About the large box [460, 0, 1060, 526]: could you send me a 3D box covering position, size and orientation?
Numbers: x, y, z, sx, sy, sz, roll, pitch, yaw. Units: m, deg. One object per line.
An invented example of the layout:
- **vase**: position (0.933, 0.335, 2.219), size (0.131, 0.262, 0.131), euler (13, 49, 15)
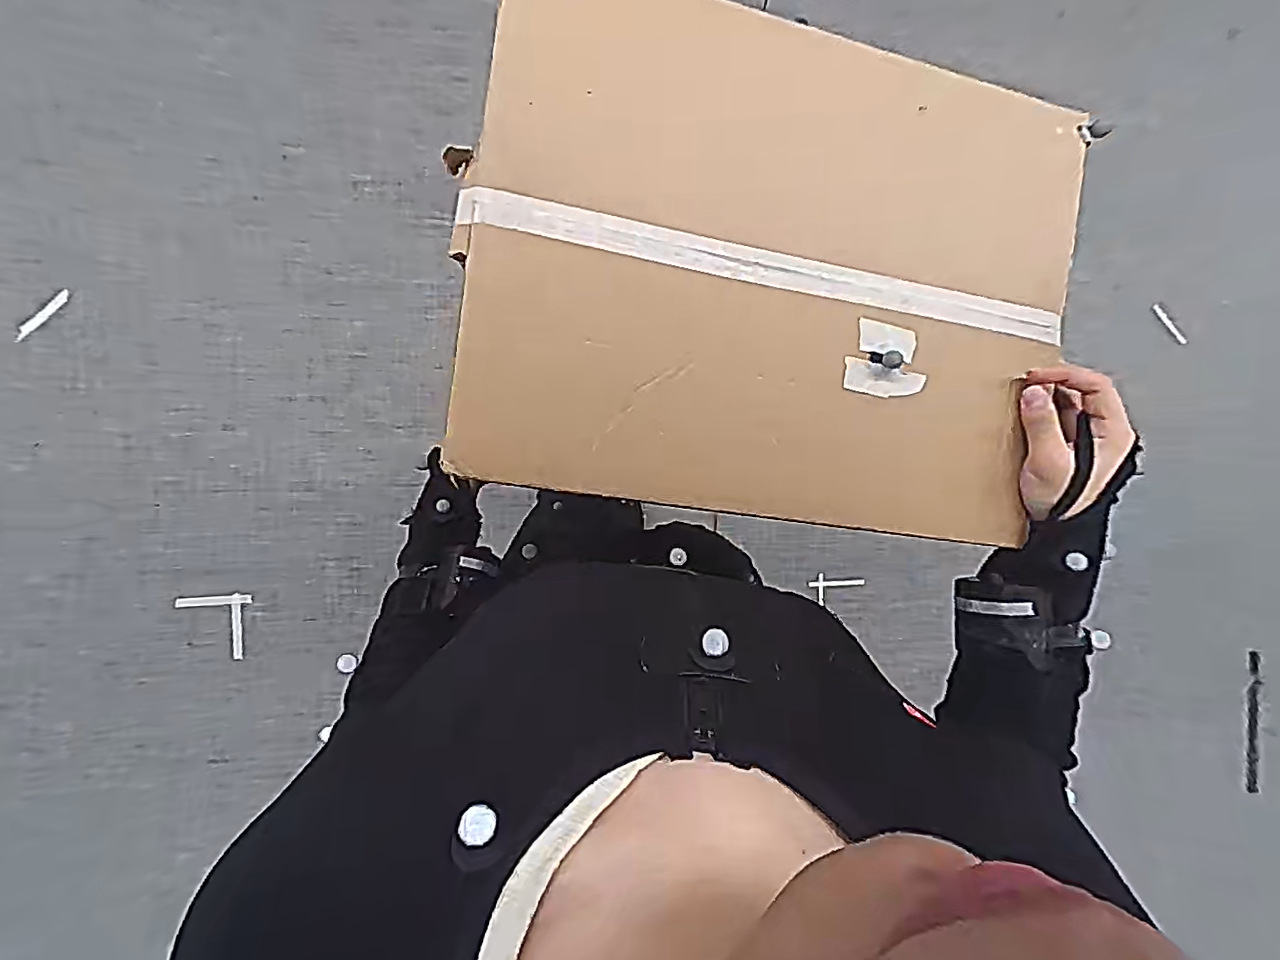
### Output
- **large box**: position (0.069, -0.144, 0.504), size (0.408, 0.320, 0.320), euler (7, 91, -12)
